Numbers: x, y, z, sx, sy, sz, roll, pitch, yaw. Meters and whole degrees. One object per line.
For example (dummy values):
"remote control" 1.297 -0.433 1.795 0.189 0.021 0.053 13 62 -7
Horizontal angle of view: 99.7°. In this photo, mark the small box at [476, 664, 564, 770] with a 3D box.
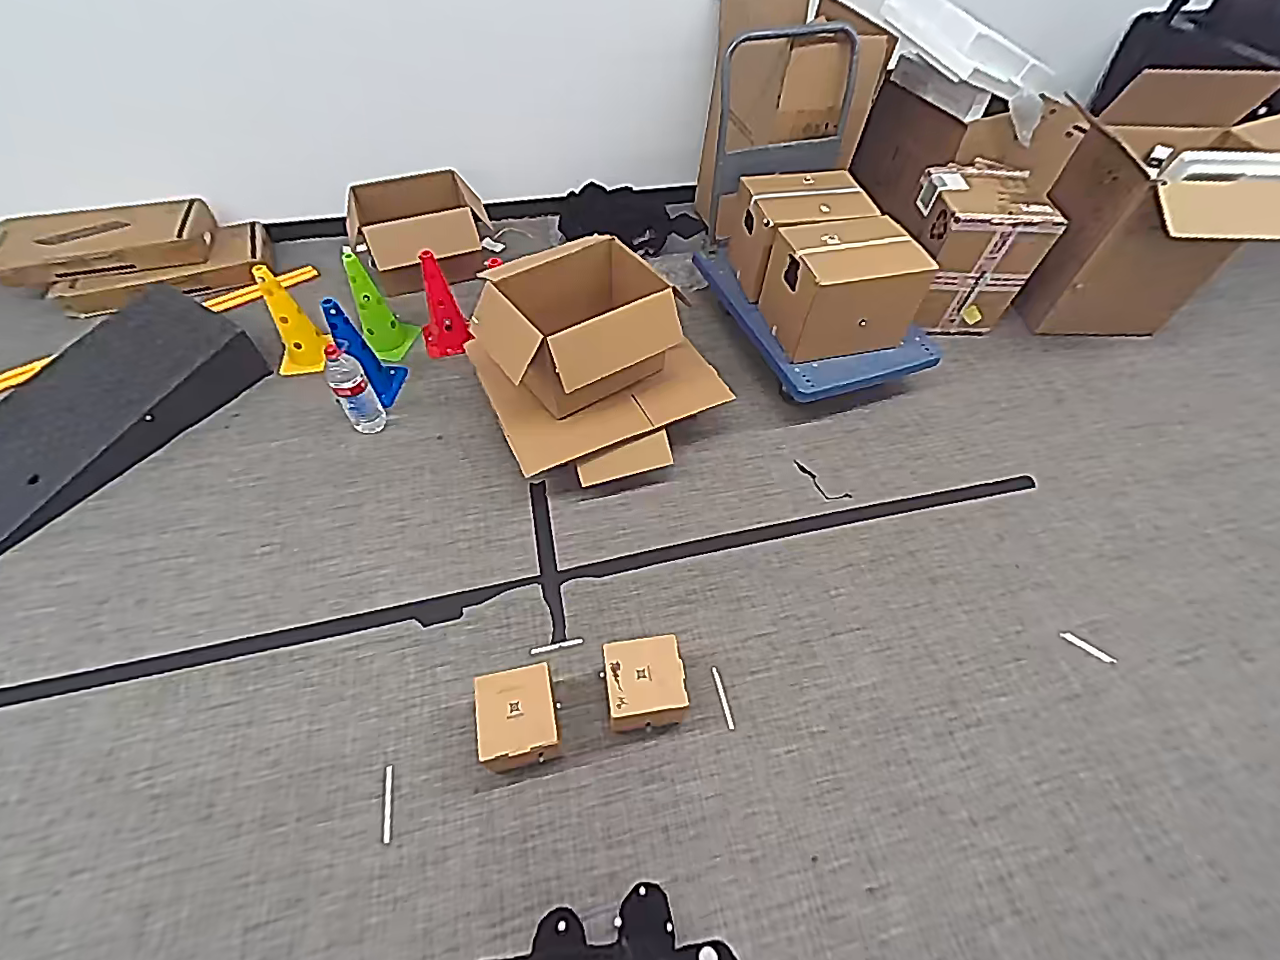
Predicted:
"small box" -0.269 0.544 1.228 0.168 0.176 0.179 -10 55 -11

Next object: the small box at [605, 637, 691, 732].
"small box" 0.011 0.487 1.283 0.179 0.176 0.168 -5 56 -8
